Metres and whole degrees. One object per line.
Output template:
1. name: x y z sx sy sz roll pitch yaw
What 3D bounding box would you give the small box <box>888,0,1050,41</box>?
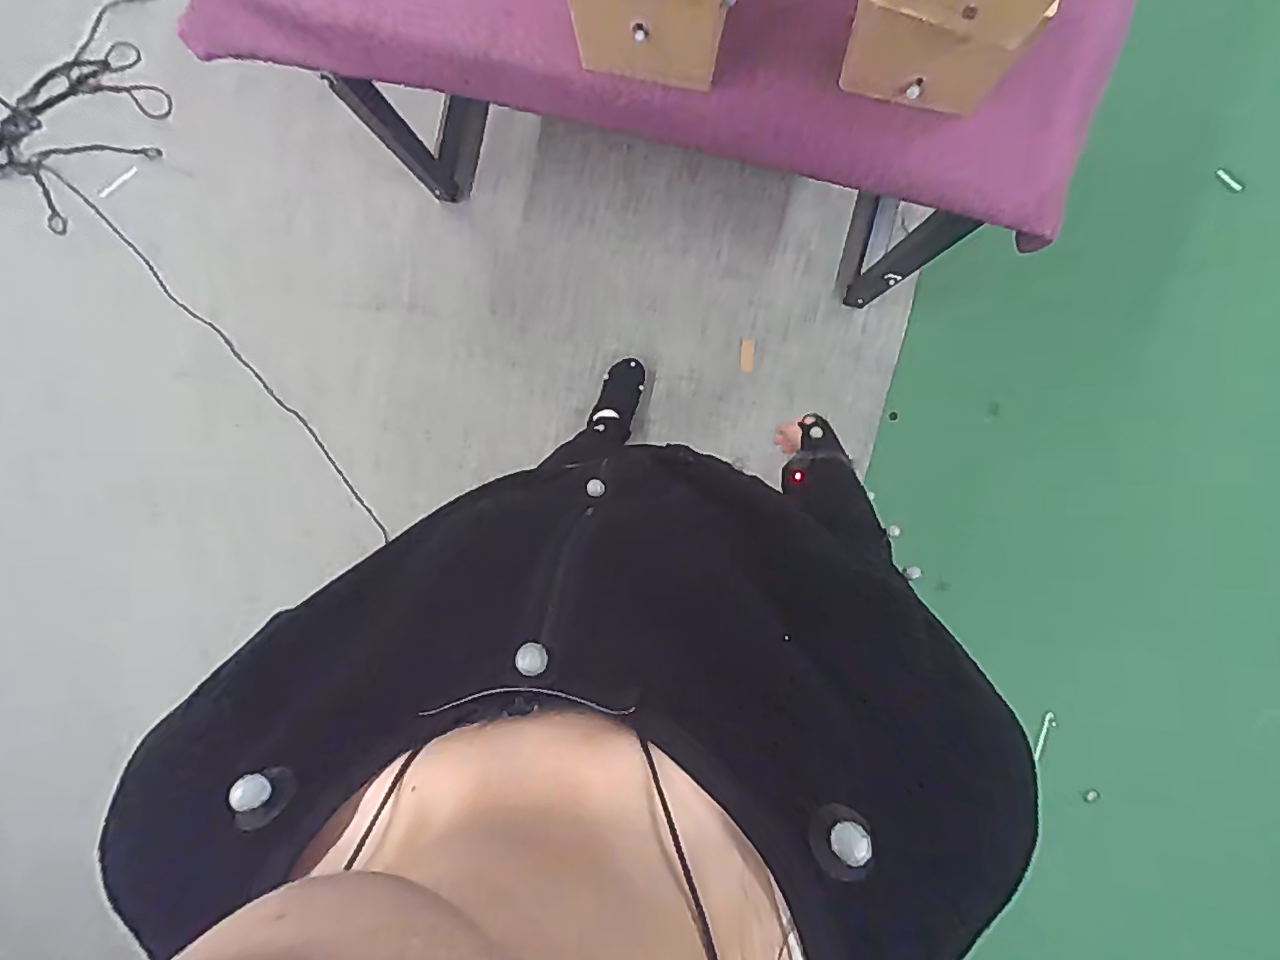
1. small box: 0.328 -0.542 0.461 0.168 0.176 0.179 22 95 3

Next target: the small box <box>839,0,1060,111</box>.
1. small box: 0.357 -0.566 0.621 0.179 0.176 0.168 14 93 3
